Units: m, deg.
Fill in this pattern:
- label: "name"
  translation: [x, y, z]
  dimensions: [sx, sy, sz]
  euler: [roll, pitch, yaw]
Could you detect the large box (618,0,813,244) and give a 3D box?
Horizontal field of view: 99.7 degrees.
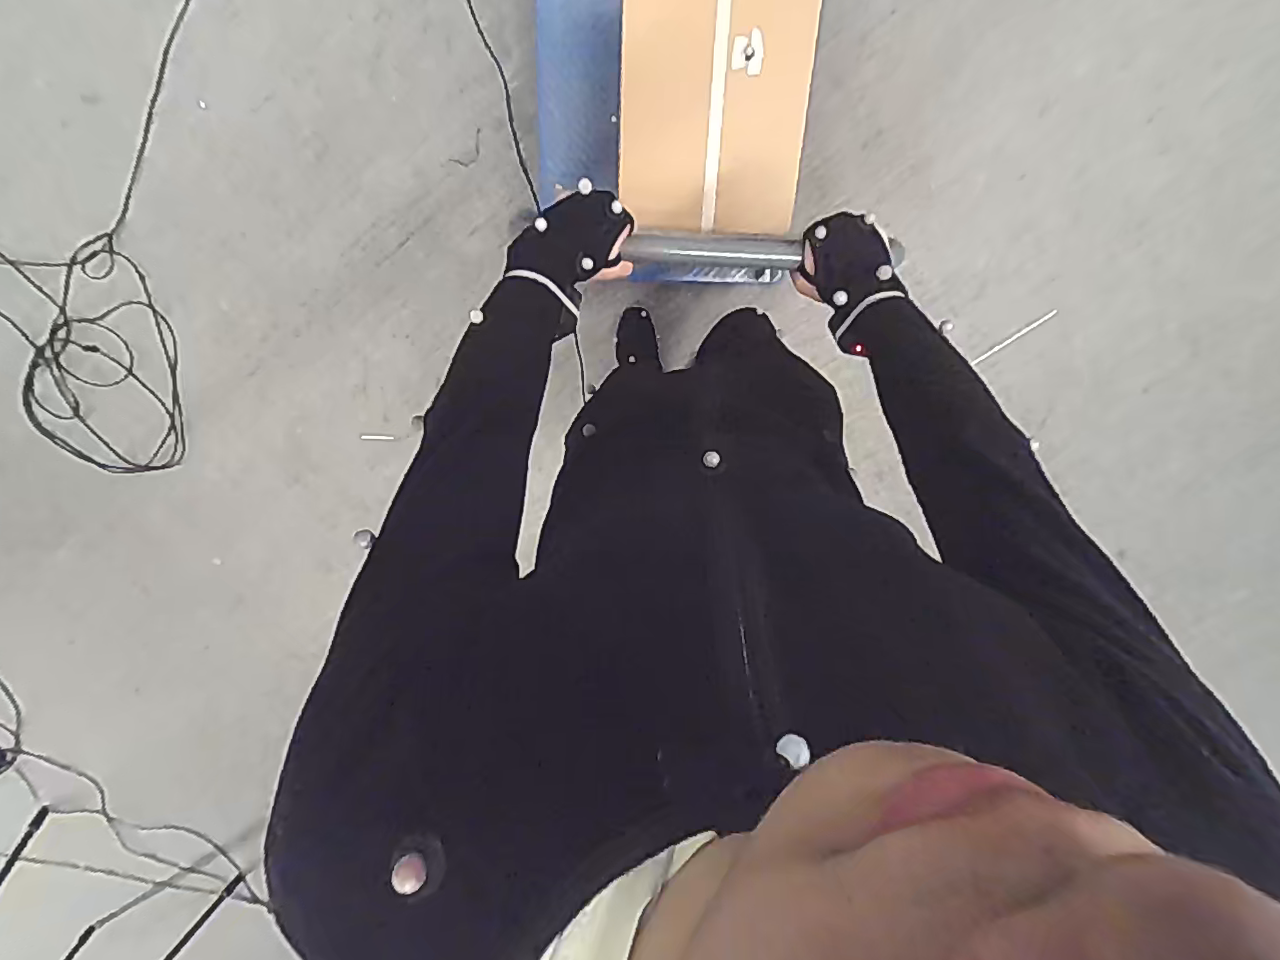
- label: "large box"
  translation: [0.118, -0.685, 1.057]
  dimensions: [0.320, 0.320, 0.408]
  euler: [1, 112, -3]
